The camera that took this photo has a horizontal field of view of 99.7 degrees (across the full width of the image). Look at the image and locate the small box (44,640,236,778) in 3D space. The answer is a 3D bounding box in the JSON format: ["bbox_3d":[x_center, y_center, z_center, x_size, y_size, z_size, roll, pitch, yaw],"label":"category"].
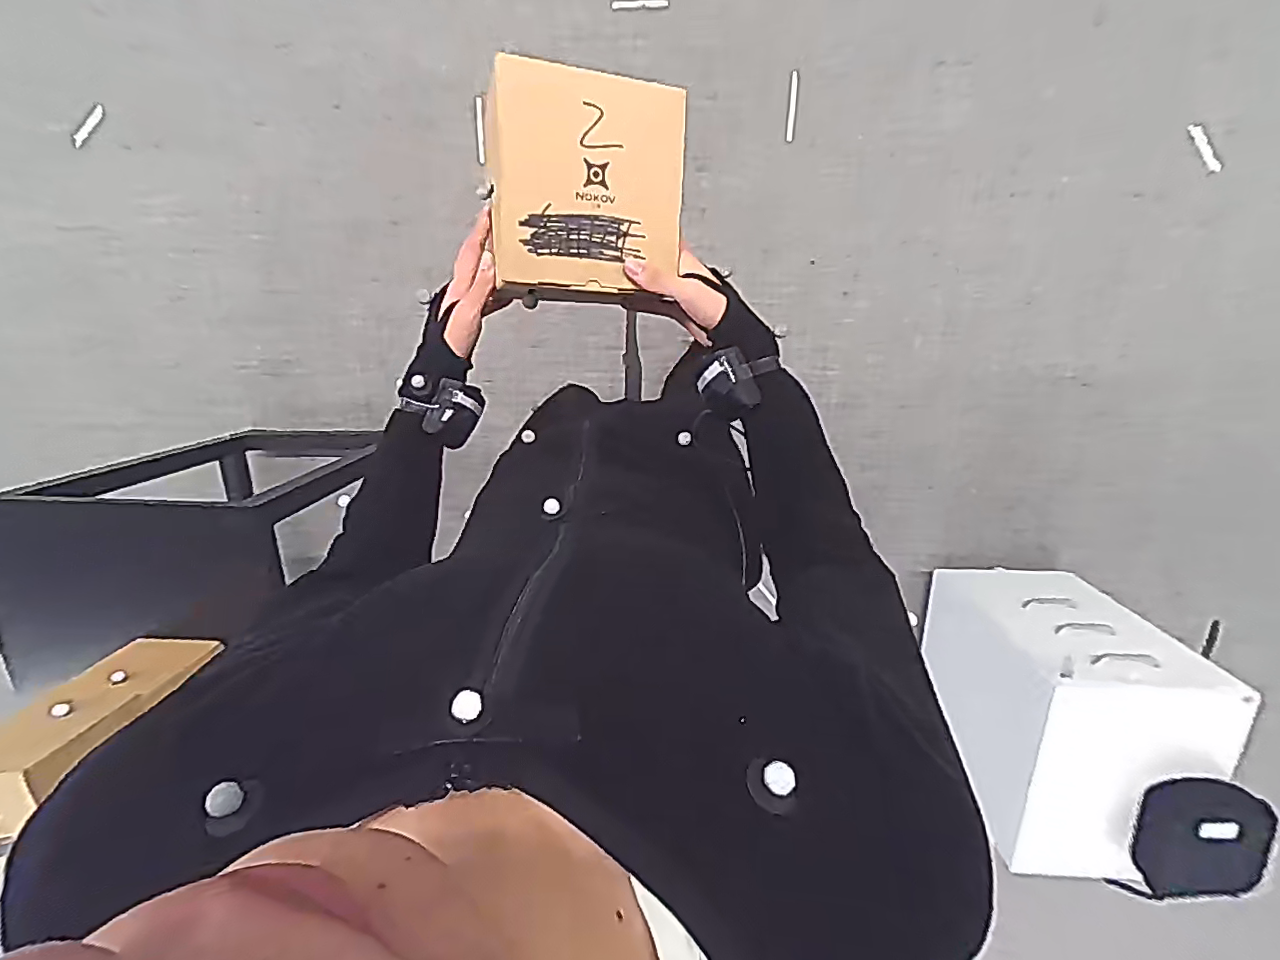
[{"bbox_3d":[-0.894,0.408,0.986,0.179,0.176,0.168,1,107,3],"label":"small box"}]

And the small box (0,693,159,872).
[{"bbox_3d":[-0.899,0.454,0.828,0.168,0.176,0.179,-2,106,4],"label":"small box"}]

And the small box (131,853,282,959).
[{"bbox_3d":[-0.892,0.922,1.138,0.179,0.176,0.168,0,106,3],"label":"small box"}]
